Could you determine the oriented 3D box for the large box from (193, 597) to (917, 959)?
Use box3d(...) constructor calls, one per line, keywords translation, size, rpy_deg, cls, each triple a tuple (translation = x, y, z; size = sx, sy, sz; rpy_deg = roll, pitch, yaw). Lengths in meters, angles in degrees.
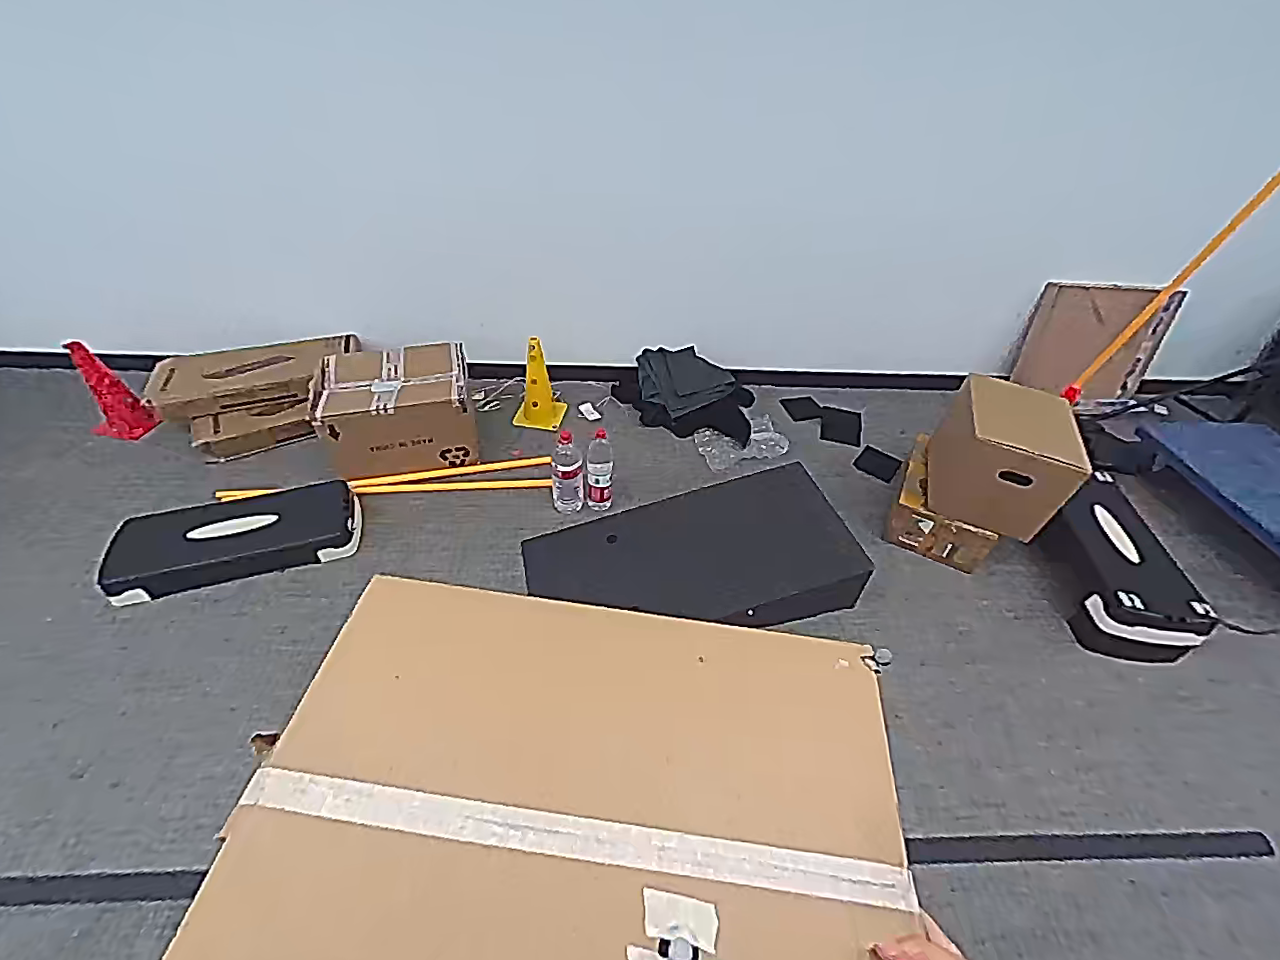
box3d(translation=(-0.045, 0.329, 0.443), size=(0.408, 0.320, 0.320), rpy_deg=(8, 48, 2), cls="large box")
